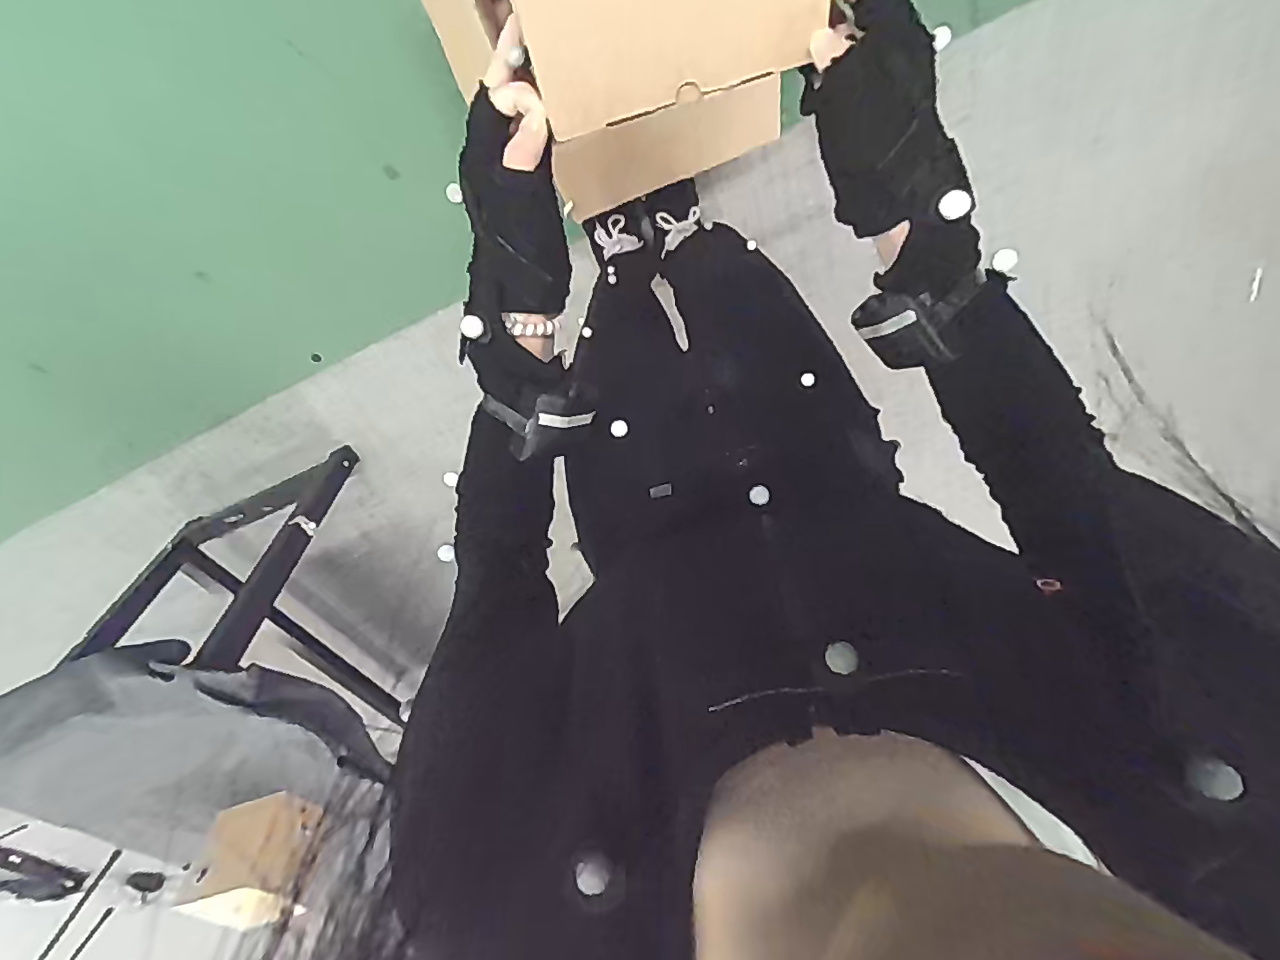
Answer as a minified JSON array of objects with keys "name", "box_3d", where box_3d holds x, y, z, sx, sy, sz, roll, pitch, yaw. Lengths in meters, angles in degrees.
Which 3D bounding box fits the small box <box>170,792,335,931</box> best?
[{"name":"small box","box_3d":[-0.756,0.759,1.080,0.179,0.176,0.168,-22,126,8]}]

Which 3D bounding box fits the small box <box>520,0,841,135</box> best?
[{"name":"small box","box_3d":[0.001,-0.333,0.296,0.168,0.176,0.179,-16,142,2]}]
